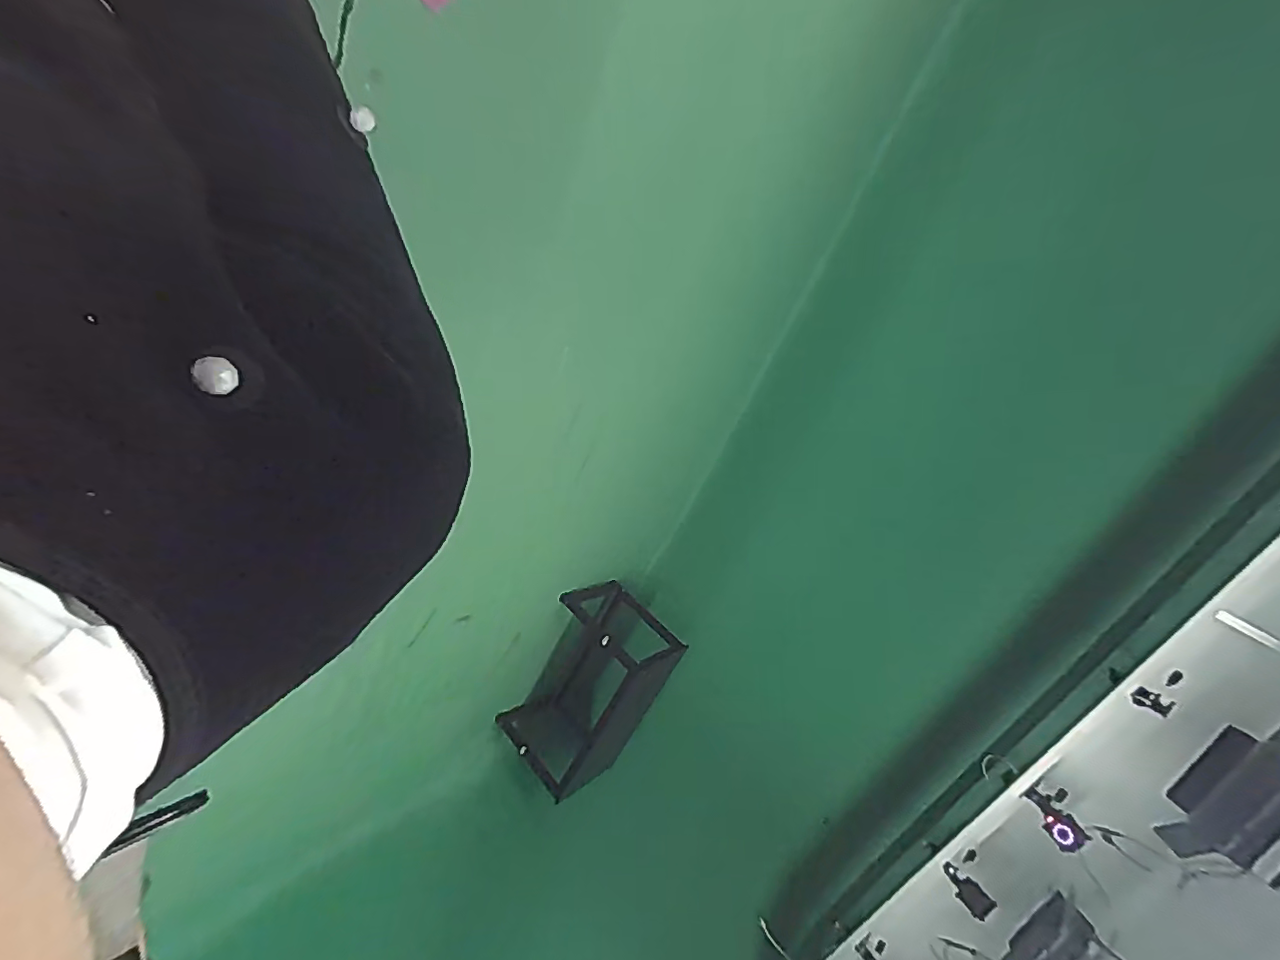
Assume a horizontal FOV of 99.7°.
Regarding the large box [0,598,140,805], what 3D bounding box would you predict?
[{"bbox_3d":[-1.660,0.592,1.398,0.408,0.320,0.320,-36,150,-28],"label":"large box"}]
